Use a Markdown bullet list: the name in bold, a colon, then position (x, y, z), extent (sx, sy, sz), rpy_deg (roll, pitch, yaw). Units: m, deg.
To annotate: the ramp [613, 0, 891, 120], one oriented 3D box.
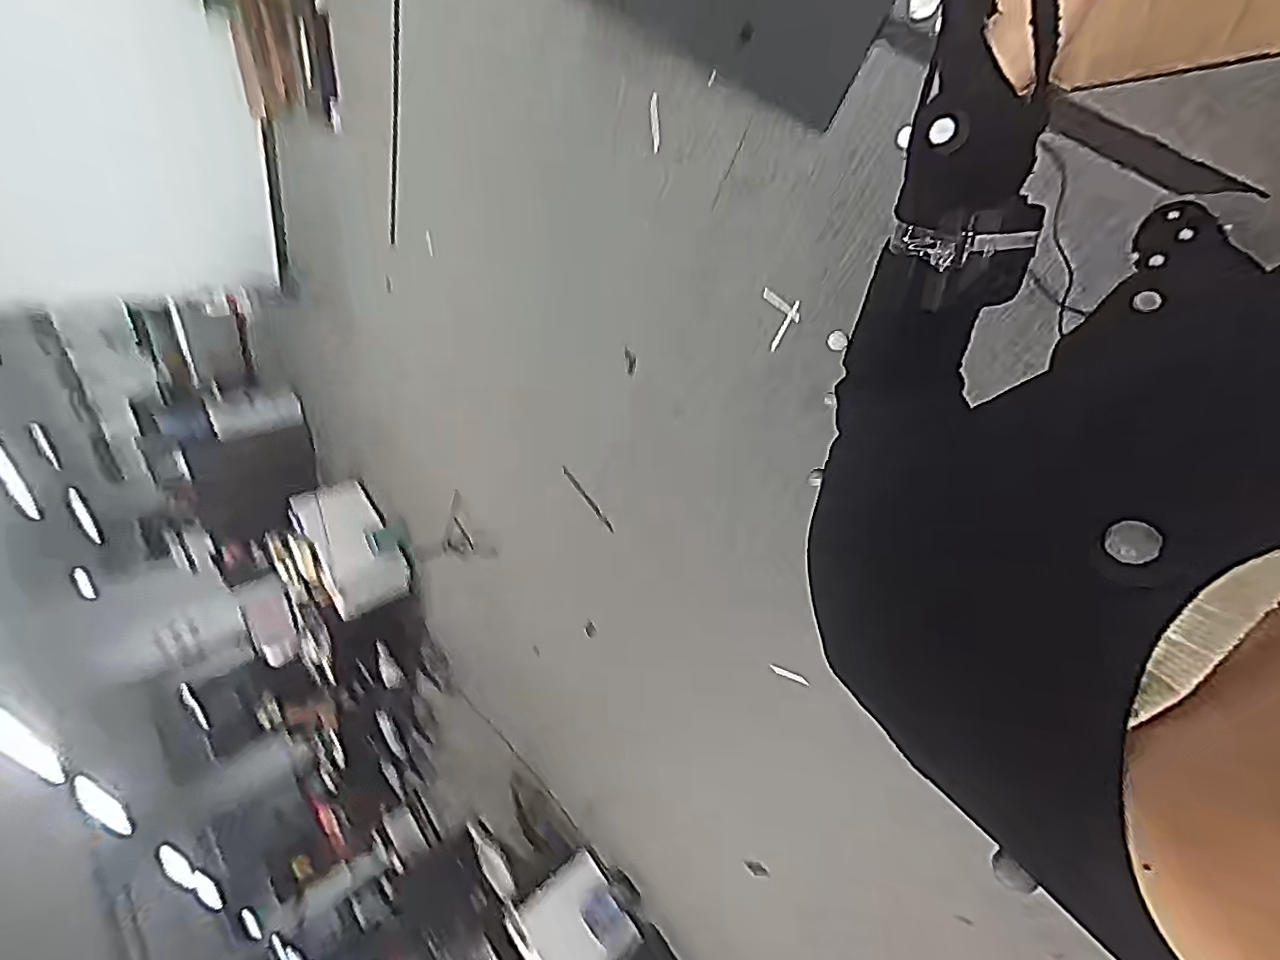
- **ramp**: position (0.169, -1.335, 1.261), extent (0.991, 0.206, 0.509), rpy_deg (47, 135, 22)
